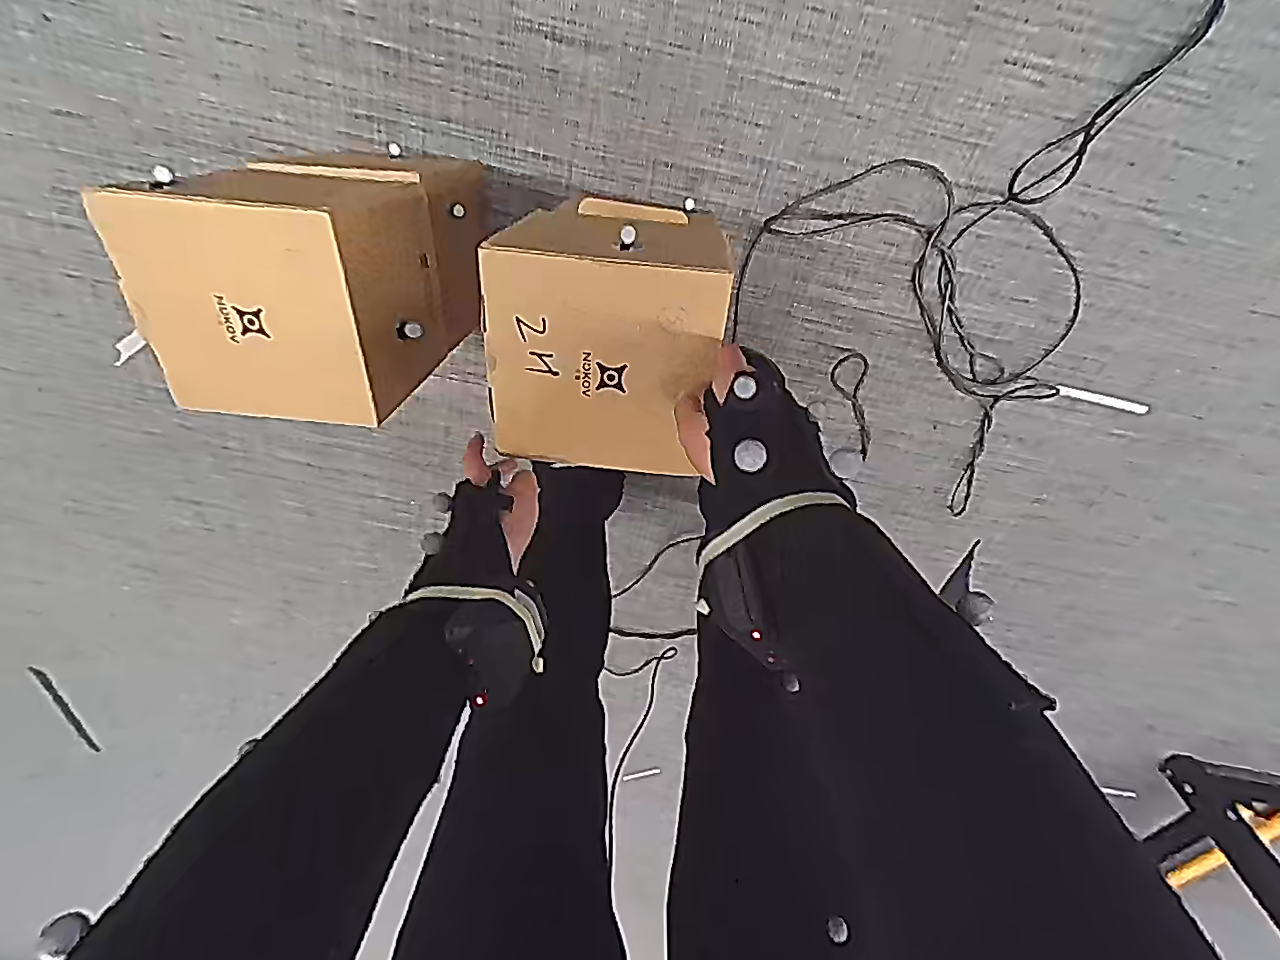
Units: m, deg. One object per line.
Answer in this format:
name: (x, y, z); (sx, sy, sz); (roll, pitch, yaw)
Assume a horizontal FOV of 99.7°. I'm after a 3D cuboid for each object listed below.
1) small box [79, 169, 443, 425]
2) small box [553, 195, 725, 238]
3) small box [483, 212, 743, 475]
small box: (-0.285, -0.164, 0.465); (0.179, 0.176, 0.168); (5, 124, 2)
small box: (-0.007, -0.207, 0.606); (0.168, 0.176, 0.179); (8, 125, 0)
small box: (-0.018, -0.124, 0.463); (0.179, 0.176, 0.168); (6, 123, 2)
